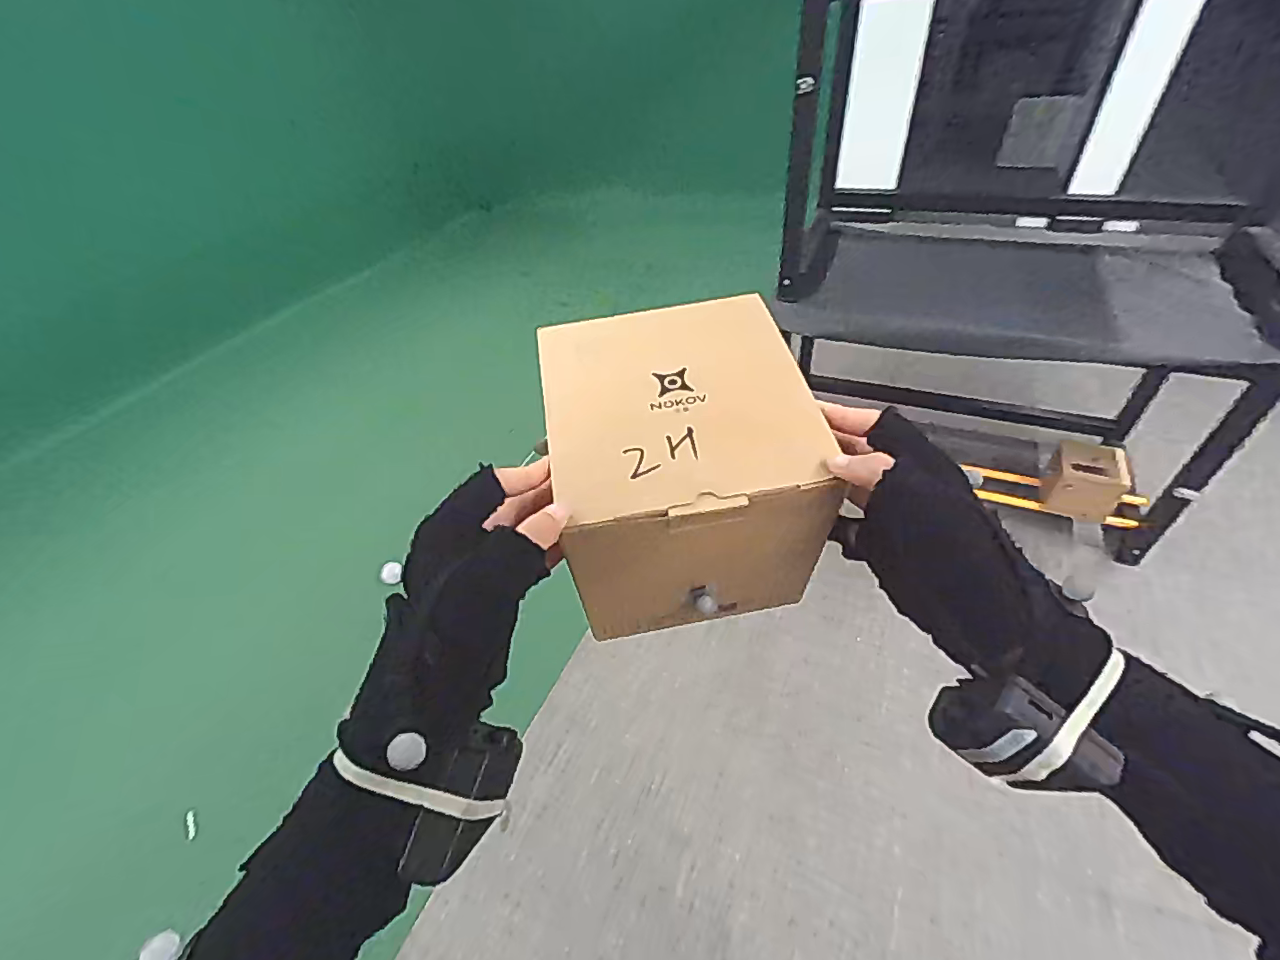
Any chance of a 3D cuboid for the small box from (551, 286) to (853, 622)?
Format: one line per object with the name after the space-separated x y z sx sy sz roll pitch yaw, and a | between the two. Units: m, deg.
0.031 -0.017 0.410 0.168 0.176 0.179 -10 52 -2 | small box
